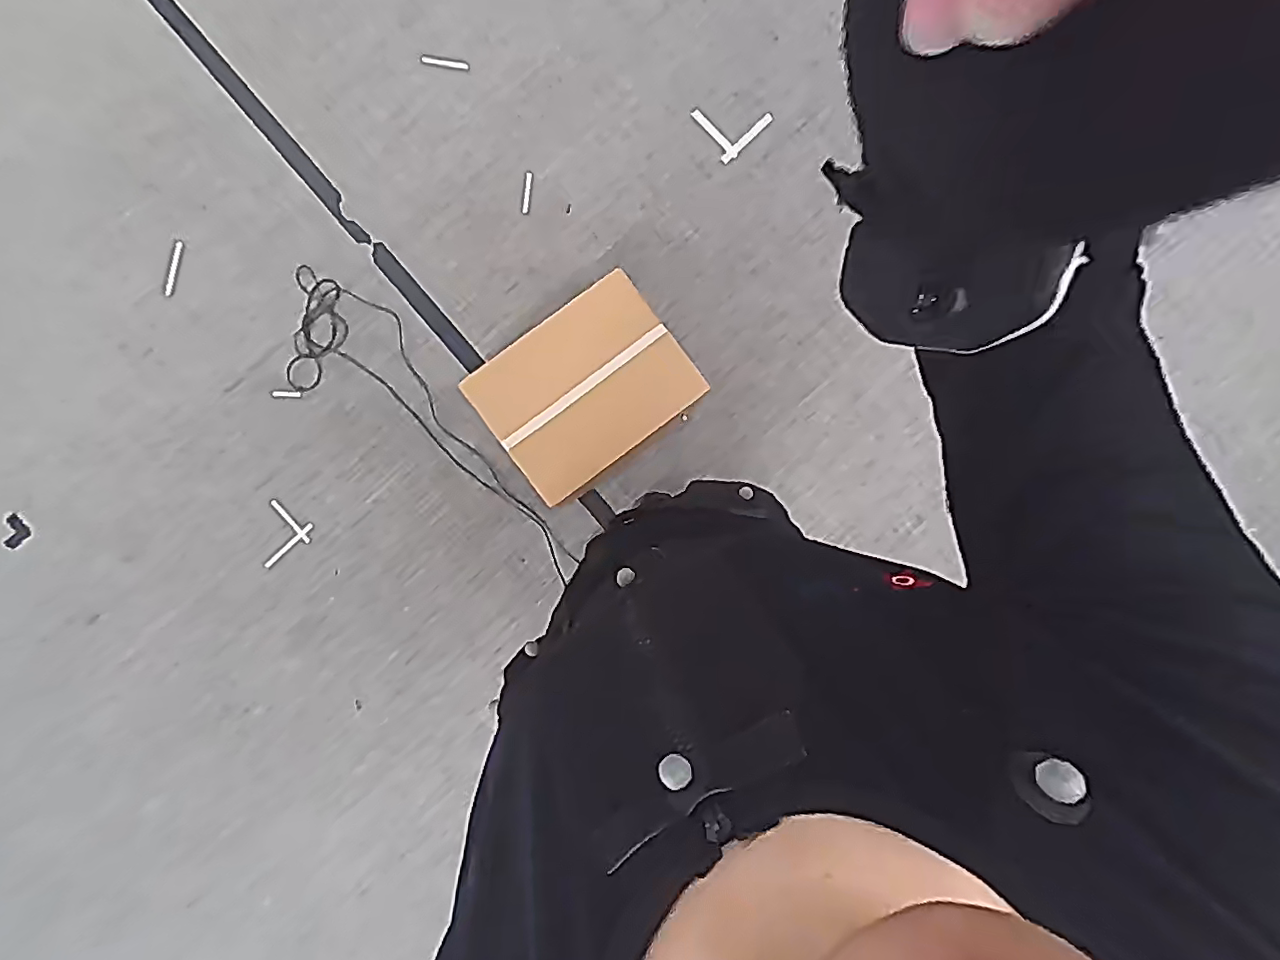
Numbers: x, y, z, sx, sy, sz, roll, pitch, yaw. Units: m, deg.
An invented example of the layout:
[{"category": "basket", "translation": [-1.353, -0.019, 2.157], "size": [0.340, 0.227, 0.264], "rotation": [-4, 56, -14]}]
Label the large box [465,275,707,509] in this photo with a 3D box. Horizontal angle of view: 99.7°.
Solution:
[{"category": "large box", "translation": [-0.111, -0.178, 1.241], "size": [0.408, 0.320, 0.320], "rotation": [-37, 89, -2]}]
